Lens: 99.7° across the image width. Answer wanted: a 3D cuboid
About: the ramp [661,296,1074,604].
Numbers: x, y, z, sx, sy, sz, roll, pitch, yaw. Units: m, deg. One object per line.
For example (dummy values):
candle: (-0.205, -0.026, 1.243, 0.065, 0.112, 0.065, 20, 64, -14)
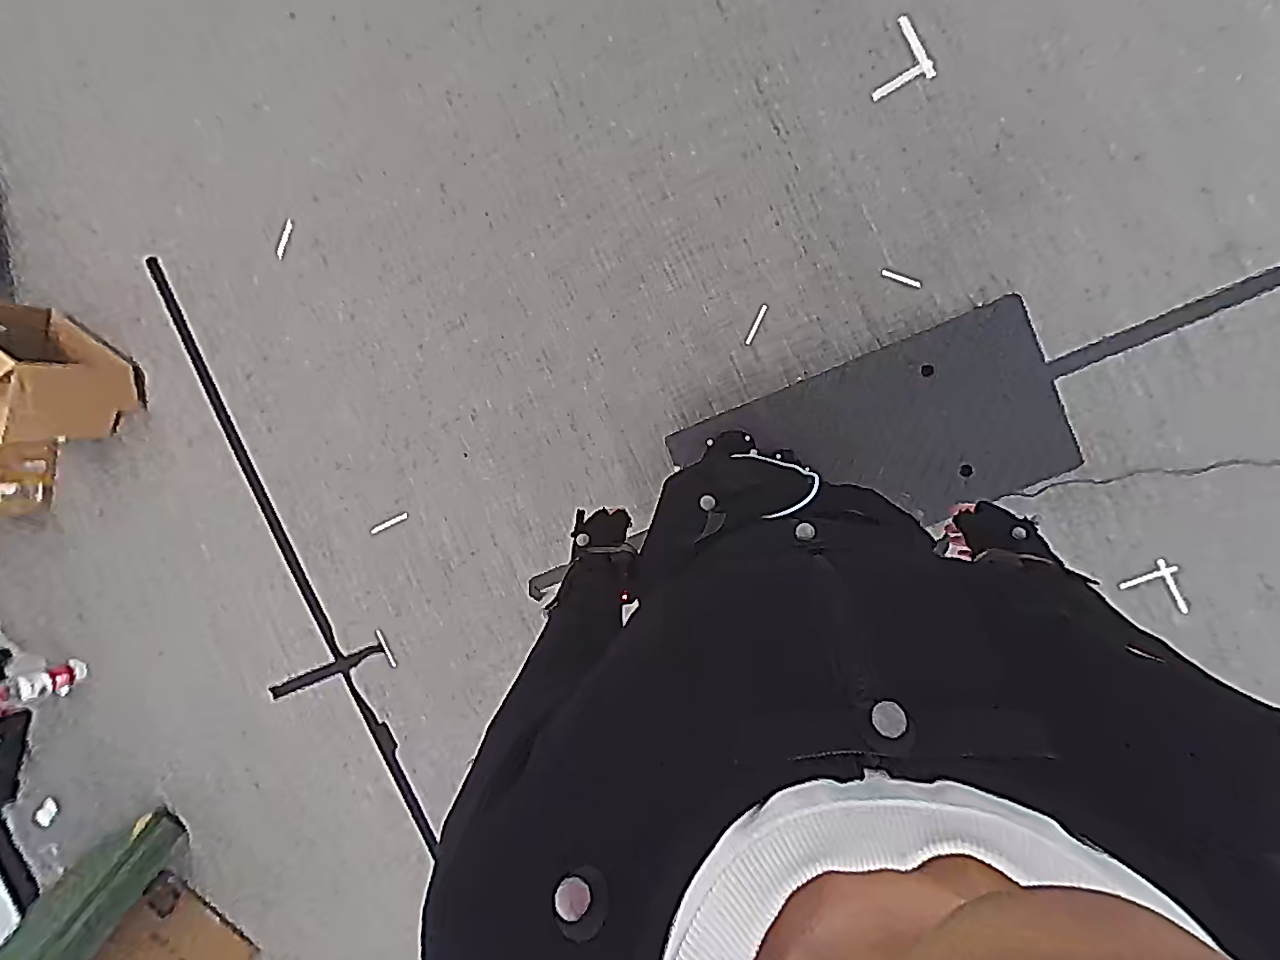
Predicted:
ramp: (0.601, -0.079, 1.443, 0.991, 0.206, 0.509, -24, 90, 12)
